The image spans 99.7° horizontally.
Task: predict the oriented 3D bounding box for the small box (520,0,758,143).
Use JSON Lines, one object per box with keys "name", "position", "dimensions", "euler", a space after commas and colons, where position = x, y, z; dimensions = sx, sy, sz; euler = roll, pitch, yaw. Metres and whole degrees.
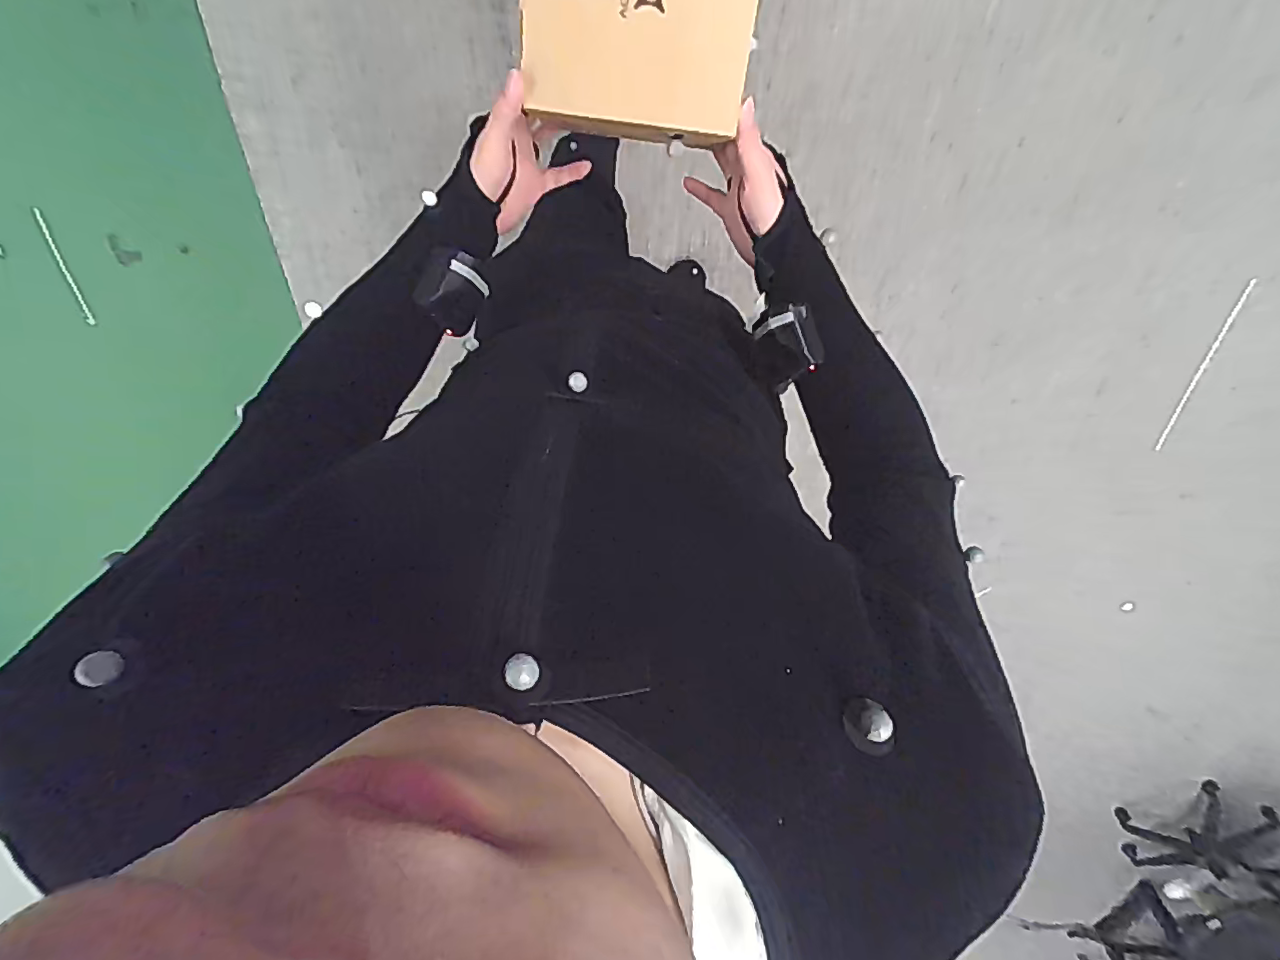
{"name": "small box", "position": [0.003, -0.399, 0.464], "dimensions": [0.179, 0.176, 0.168], "euler": [7, 118, -1]}
